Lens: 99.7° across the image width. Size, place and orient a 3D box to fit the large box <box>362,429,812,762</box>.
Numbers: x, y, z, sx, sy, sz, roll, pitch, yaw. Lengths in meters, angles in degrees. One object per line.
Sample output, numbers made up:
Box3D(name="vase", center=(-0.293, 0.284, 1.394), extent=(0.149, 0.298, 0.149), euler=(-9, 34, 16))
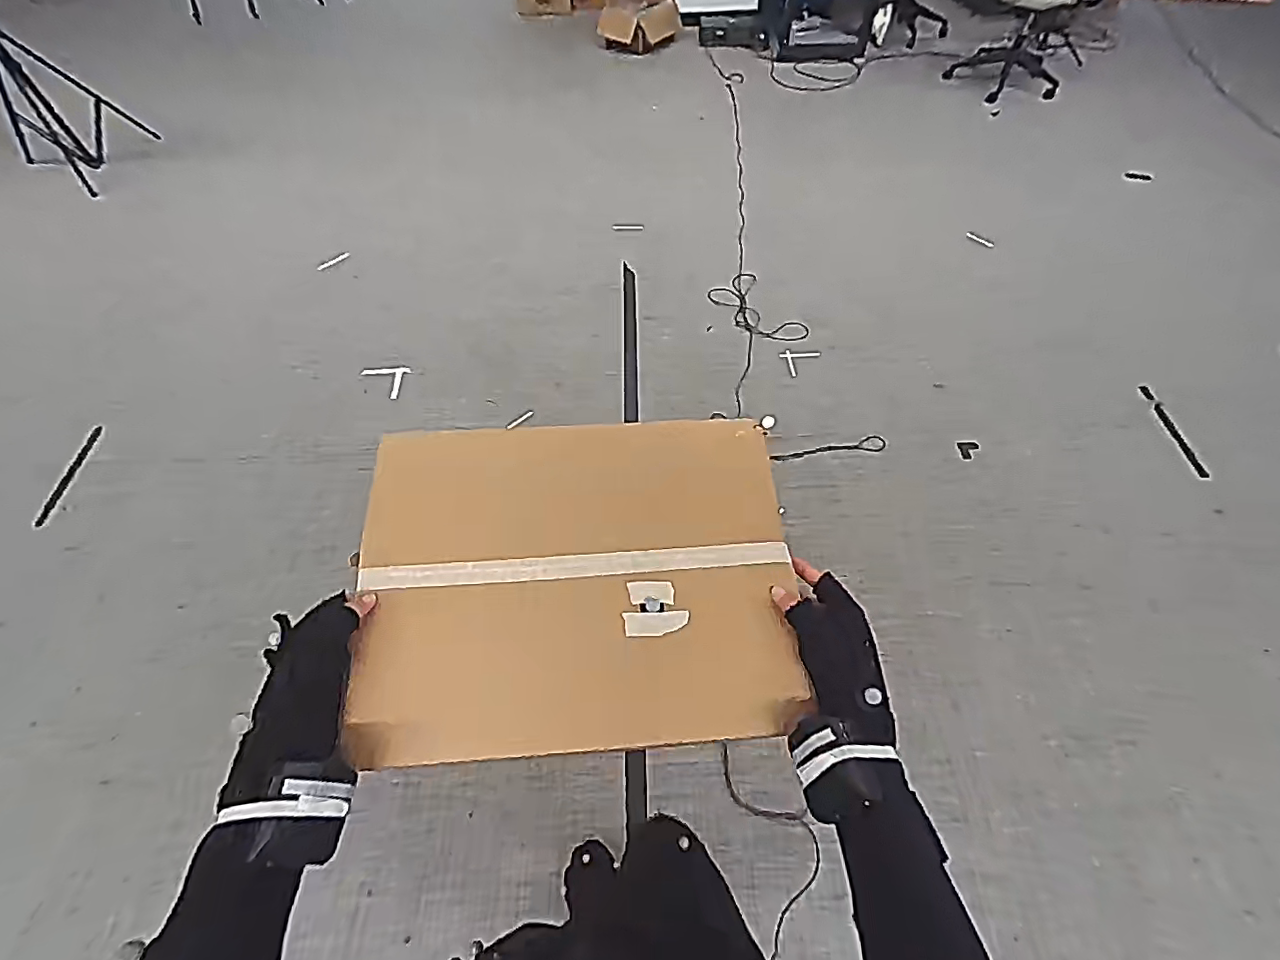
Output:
Box3D(name="large box", center=(-0.060, 0.154, 0.669), extent=(0.408, 0.320, 0.320), euler=(-2, 65, -4))
